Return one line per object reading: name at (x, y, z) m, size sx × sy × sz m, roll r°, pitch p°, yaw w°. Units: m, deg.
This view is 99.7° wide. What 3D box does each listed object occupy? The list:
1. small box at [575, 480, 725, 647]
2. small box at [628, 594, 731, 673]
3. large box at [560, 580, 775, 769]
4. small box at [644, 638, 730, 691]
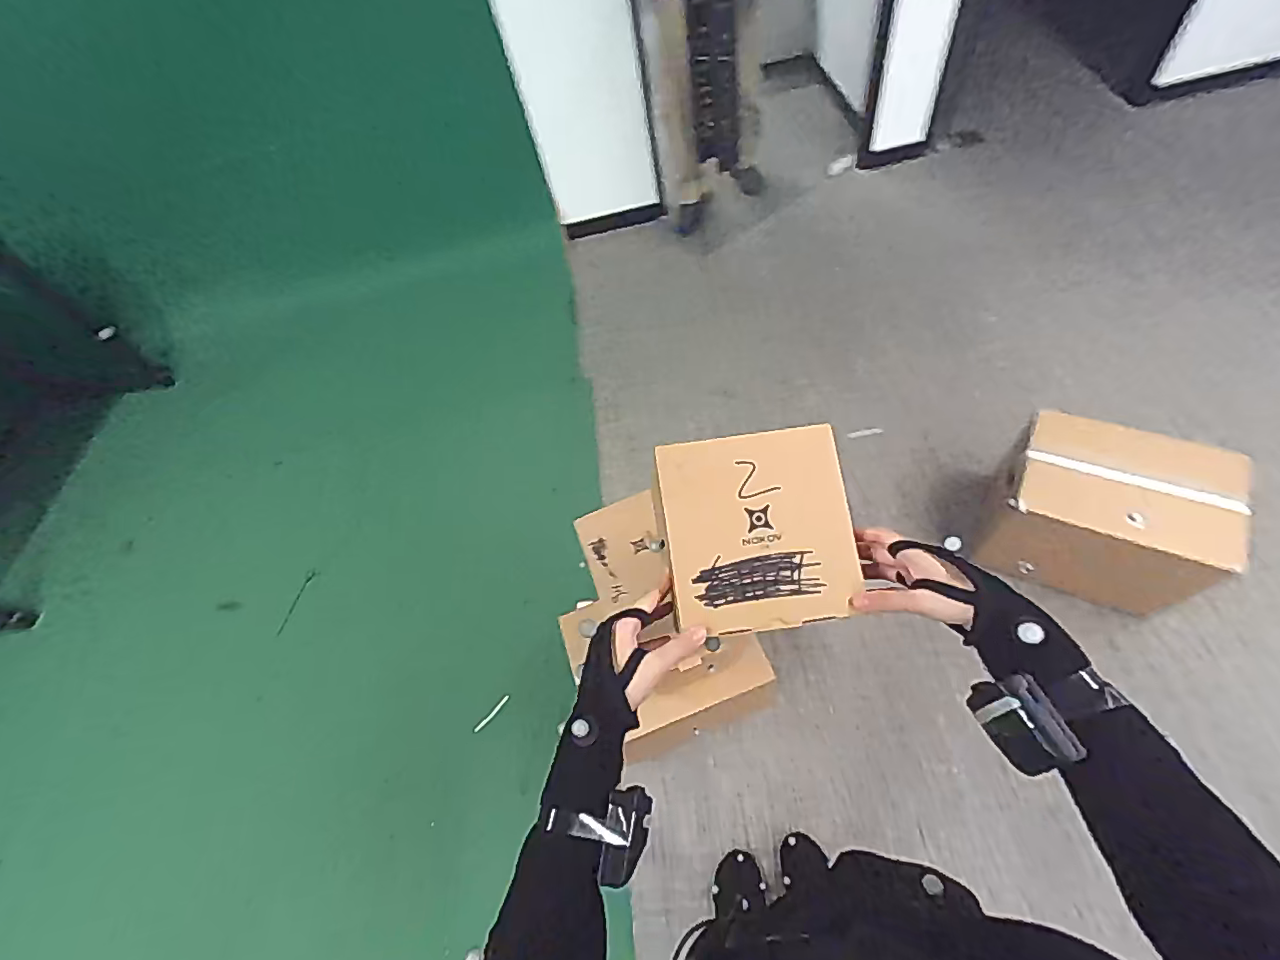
small box at (0.019, 0.134, 0.834) m, size 0.179 × 0.176 × 0.168 m, roll -21°, pitch 56°, yaw -4°
small box at (0.050, 0.223, 0.969) m, size 0.179 × 0.176 × 0.168 m, roll -23°, pitch 56°, yaw -3°
large box at (0.074, 0.451, 1.309) m, size 0.408 × 0.320 × 0.320 m, roll -23°, pitch 55°, yaw -2°
small box at (0.076, 0.314, 1.102) m, size 0.168 × 0.176 × 0.179 m, roll -21°, pitch 56°, yaw -3°
